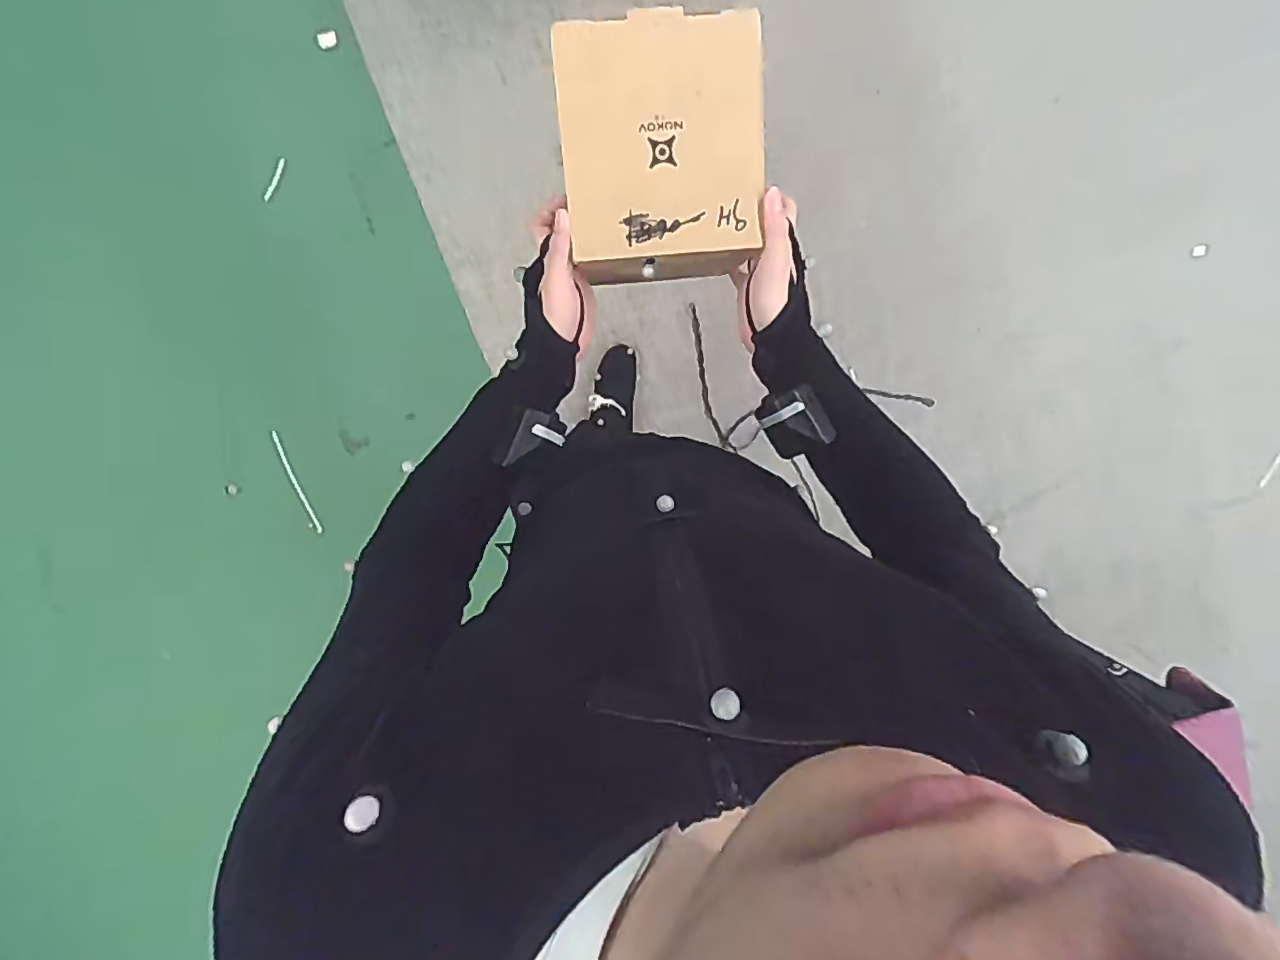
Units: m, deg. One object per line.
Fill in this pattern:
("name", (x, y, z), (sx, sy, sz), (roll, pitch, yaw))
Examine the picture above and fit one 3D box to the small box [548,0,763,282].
("small box", (0.012, -0.292, 0.504), (0.168, 0.176, 0.179), (-5, 104, -1))
